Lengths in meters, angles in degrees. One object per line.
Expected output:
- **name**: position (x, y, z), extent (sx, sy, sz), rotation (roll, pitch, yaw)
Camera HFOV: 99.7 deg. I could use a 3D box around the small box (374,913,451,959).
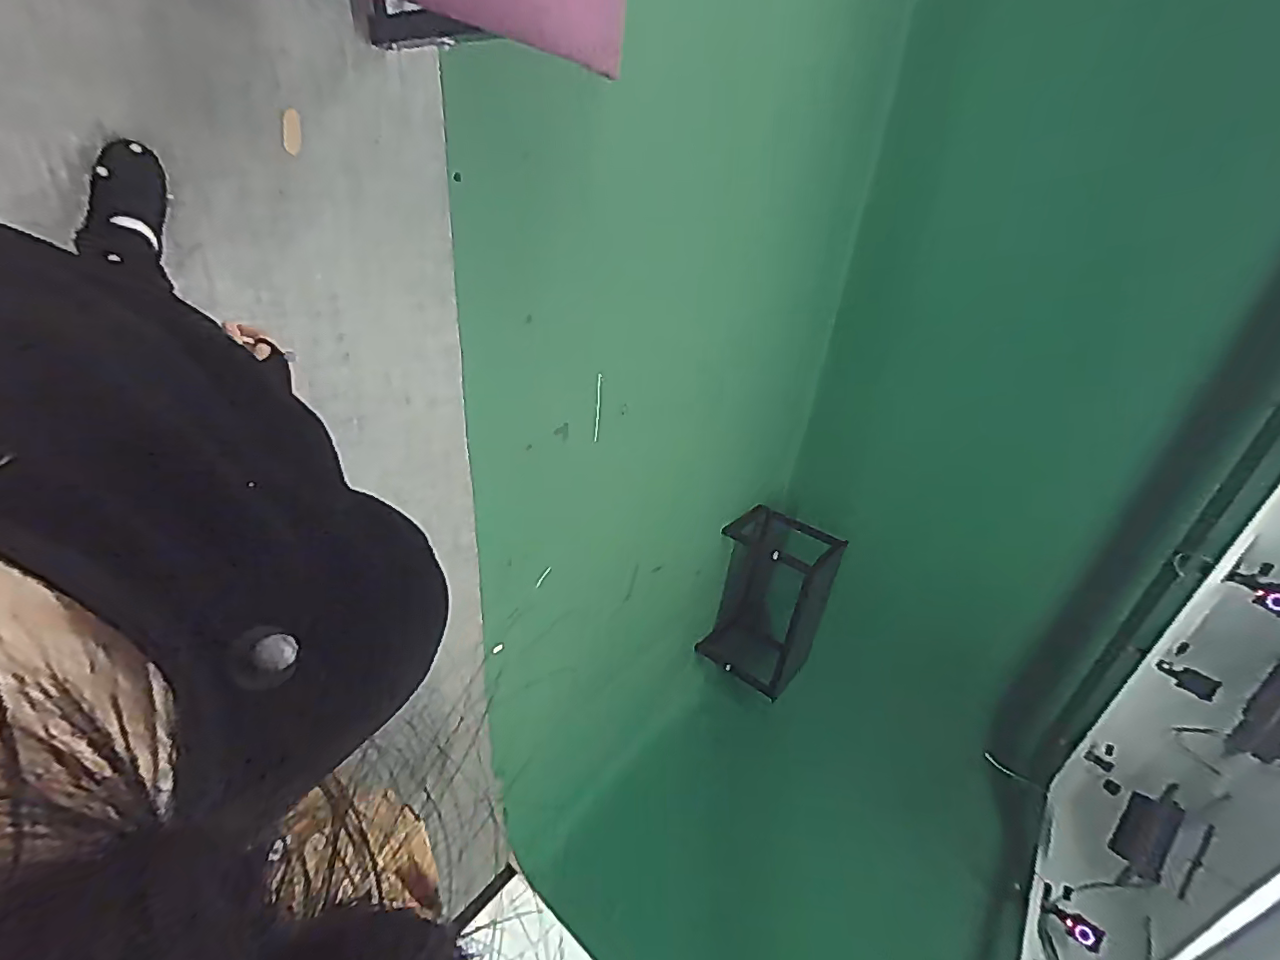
- **small box**: position (-0.695, 1.492, 1.649), extent (0.179, 0.176, 0.168), rotation (-34, 137, -41)
